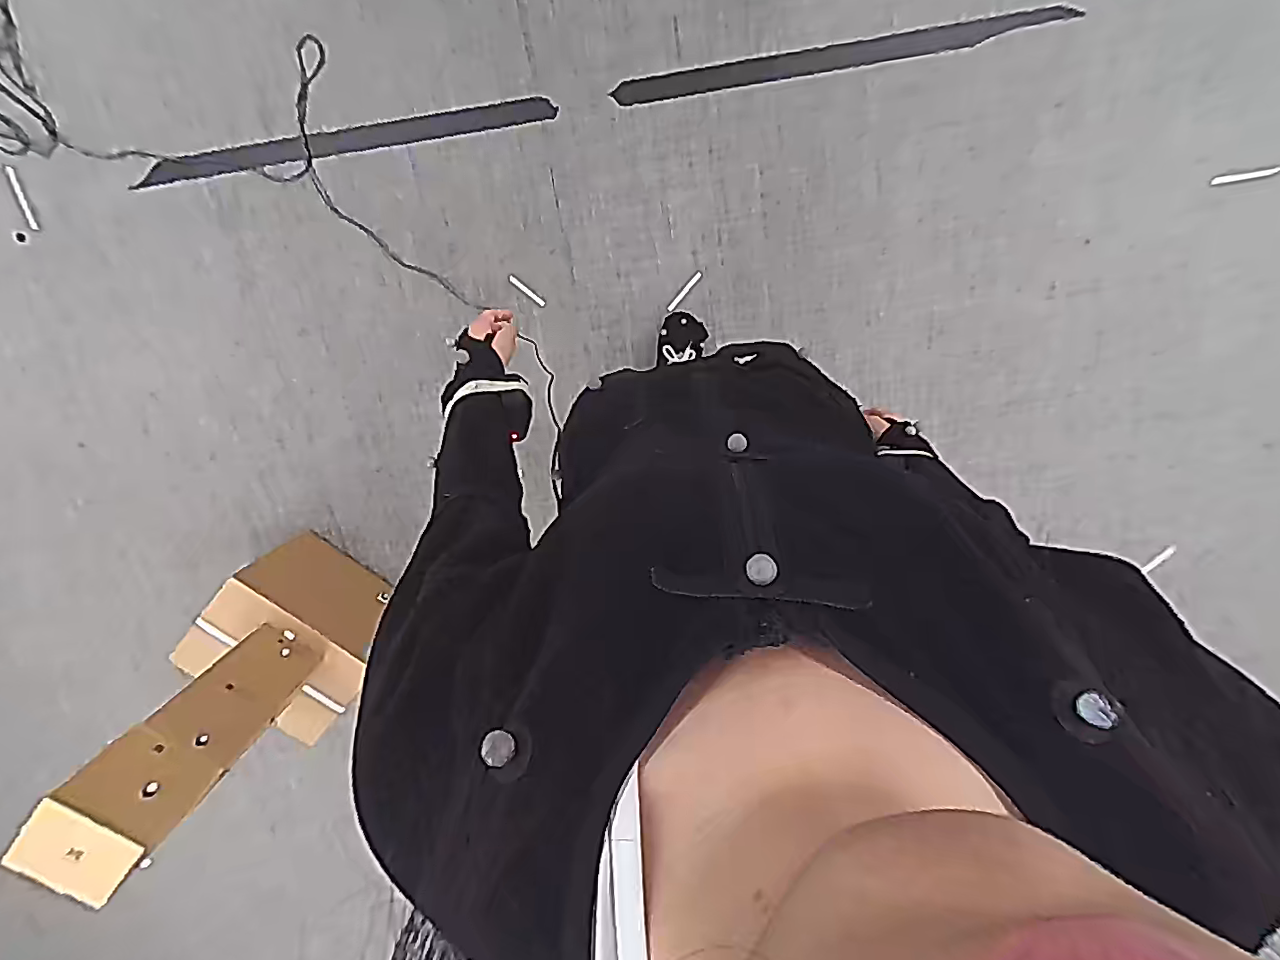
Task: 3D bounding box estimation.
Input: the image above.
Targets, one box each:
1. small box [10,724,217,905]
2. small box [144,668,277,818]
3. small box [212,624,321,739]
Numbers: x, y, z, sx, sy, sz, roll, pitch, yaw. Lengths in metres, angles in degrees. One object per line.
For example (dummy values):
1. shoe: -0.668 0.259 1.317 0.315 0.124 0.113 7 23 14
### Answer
1. small box: -0.888 0.566 0.934 0.168 0.176 0.179 38 104 -10
2. small box: -0.886 0.523 1.091 0.168 0.176 0.179 39 104 -11
3. small box: -0.883 0.474 1.247 0.168 0.176 0.179 38 103 -10
